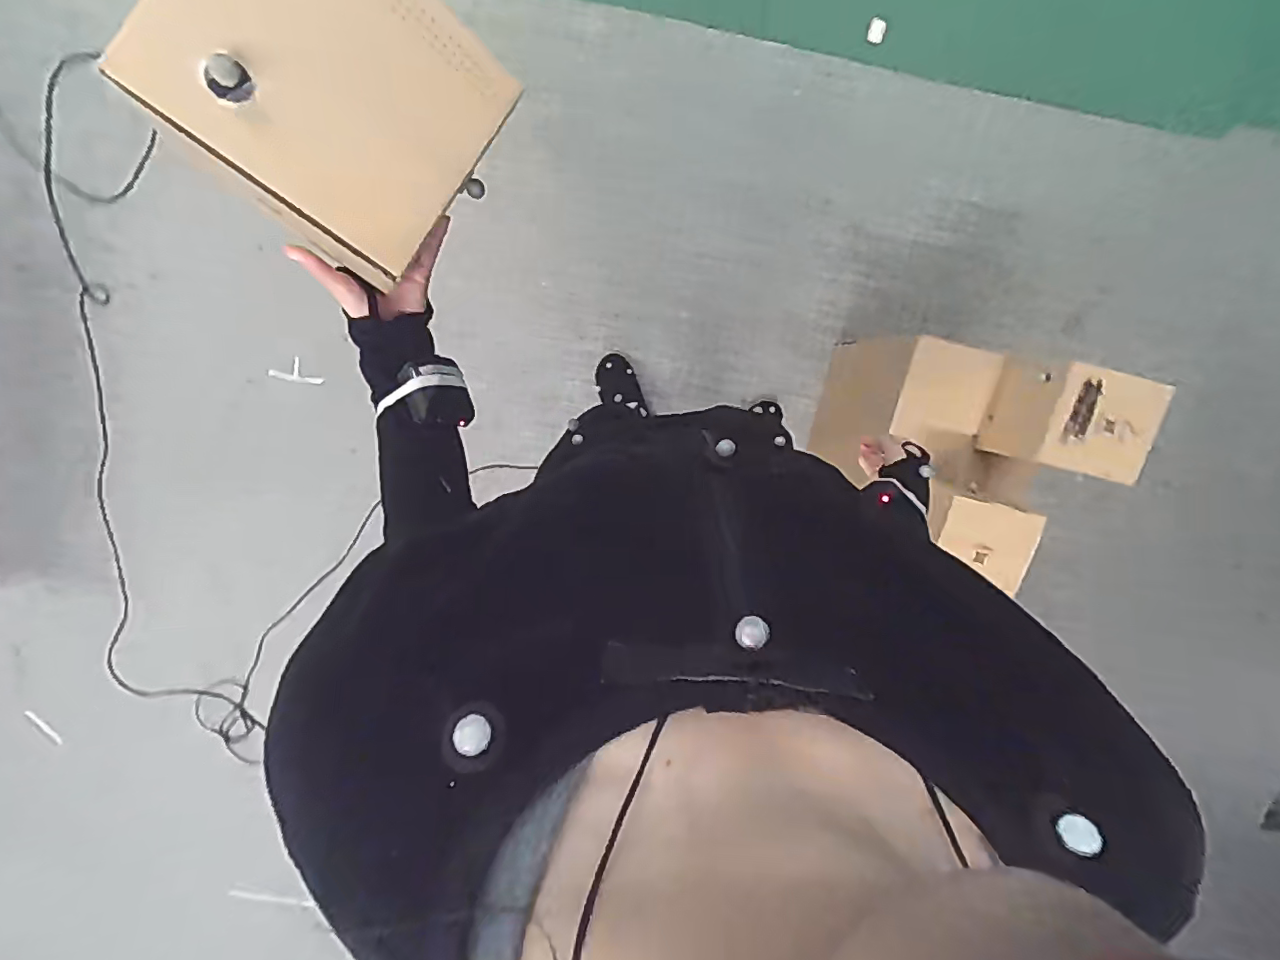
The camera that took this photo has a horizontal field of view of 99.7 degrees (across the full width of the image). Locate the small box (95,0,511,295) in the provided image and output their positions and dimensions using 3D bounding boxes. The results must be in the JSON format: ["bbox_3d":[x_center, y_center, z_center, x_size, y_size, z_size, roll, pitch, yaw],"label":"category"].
[{"bbox_3d":[-0.229,-0.268,0.408,0.179,0.168,0.176,33,88,-30],"label":"small box"}]

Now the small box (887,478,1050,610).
[{"bbox_3d":[0.577,0.105,0.979,0.168,0.176,0.179,14,102,-1],"label":"small box"}]
